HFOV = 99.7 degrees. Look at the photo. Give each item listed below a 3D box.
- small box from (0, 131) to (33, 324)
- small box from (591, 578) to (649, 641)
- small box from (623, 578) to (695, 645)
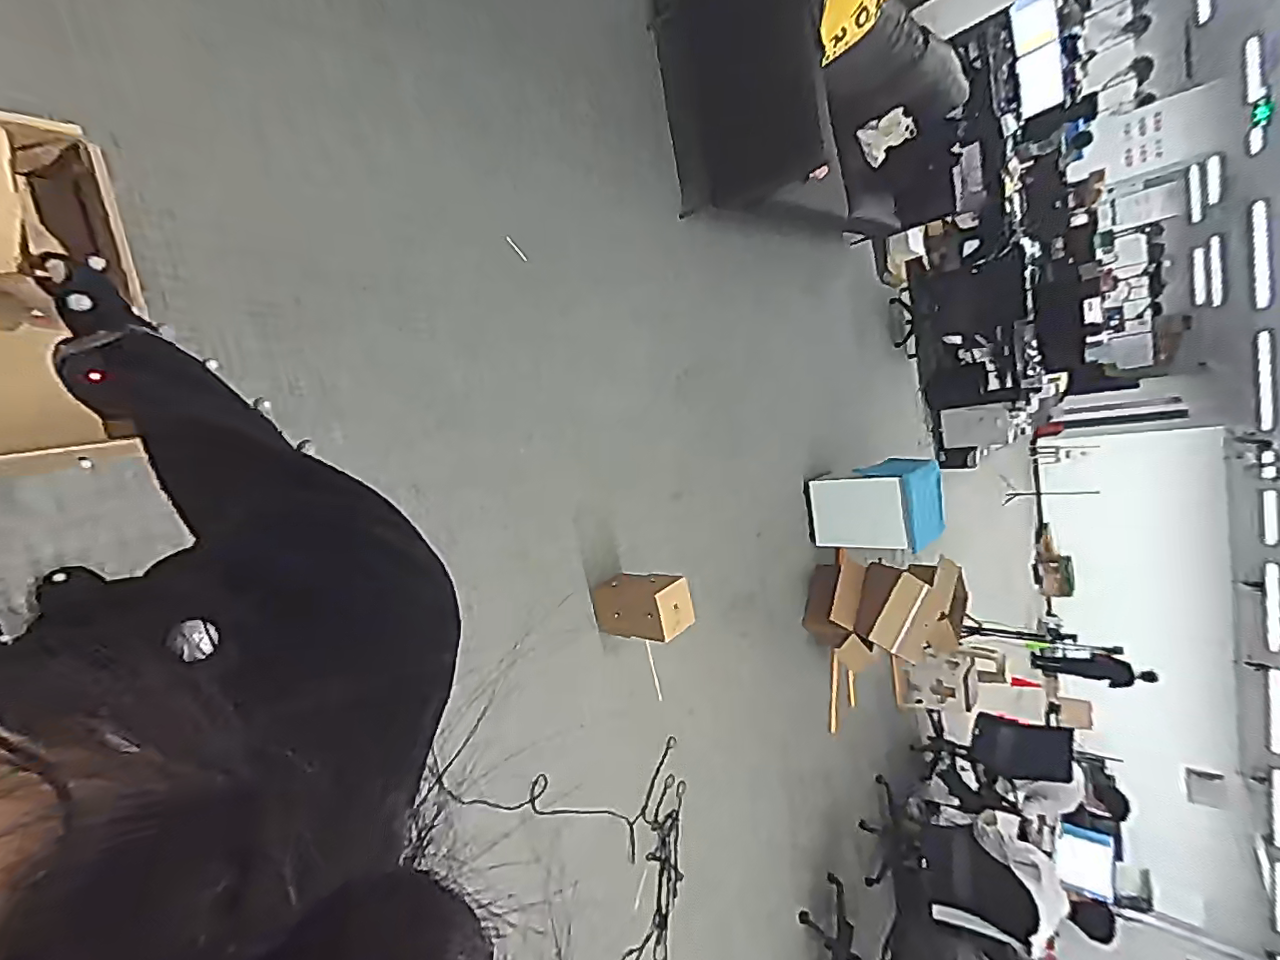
[{"bbox_3d":[-0.714,-0.242,0.498,0.179,0.176,0.168,-12,98,-53],"label":"small box"},{"bbox_3d":[-0.057,0.465,1.977,0.168,0.176,0.179,-21,102,-46],"label":"small box"},{"bbox_3d":[0.060,0.446,1.864,0.168,0.176,0.179,-20,101,-45],"label":"small box"}]
